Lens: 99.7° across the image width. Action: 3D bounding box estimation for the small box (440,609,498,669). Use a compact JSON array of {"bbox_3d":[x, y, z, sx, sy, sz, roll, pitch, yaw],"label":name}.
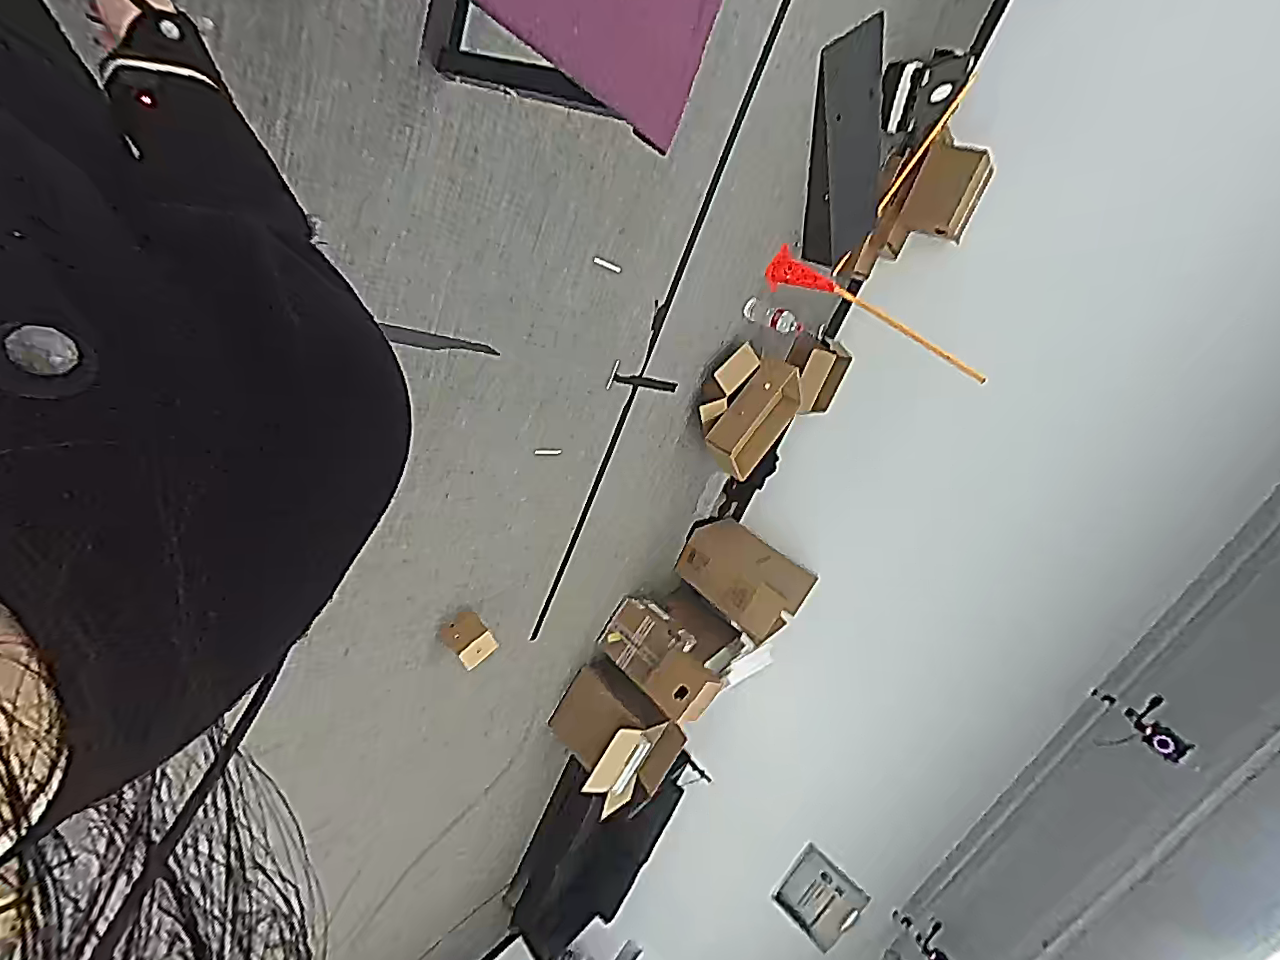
[{"bbox_3d":[-0.782,0.719,2.471,0.168,0.176,0.179,-38,148,-25],"label":"small box"}]
